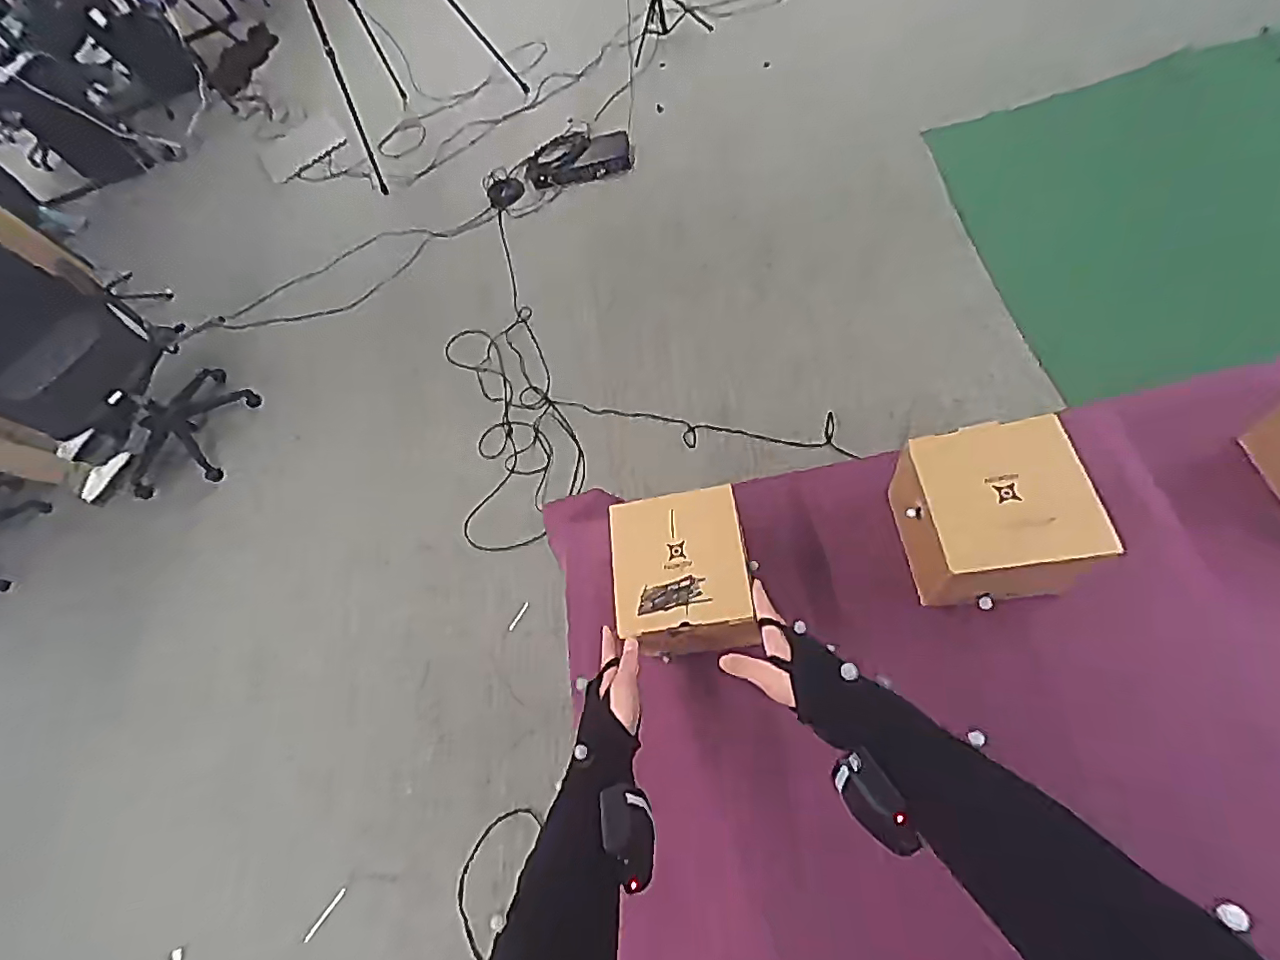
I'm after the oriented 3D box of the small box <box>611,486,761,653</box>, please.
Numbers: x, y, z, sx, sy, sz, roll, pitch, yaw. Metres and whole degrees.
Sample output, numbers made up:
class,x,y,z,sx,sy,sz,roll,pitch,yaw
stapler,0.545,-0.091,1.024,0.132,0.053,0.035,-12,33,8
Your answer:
class,x,y,z,sx,sy,sz,roll,pitch,yaw
small box,0.066,0.132,0.736,0.168,0.176,0.179,-11,61,10

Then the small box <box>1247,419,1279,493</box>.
class,x,y,z,sx,sy,sz,roll,pitch,yaw
small box,0.851,-0.024,0.588,0.168,0.176,0.179,-11,60,12

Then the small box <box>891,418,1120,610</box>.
class,x,y,z,sx,sy,sz,roll,pitch,yaw
small box,0.429,0.050,0.676,0.168,0.176,0.179,-10,62,12
